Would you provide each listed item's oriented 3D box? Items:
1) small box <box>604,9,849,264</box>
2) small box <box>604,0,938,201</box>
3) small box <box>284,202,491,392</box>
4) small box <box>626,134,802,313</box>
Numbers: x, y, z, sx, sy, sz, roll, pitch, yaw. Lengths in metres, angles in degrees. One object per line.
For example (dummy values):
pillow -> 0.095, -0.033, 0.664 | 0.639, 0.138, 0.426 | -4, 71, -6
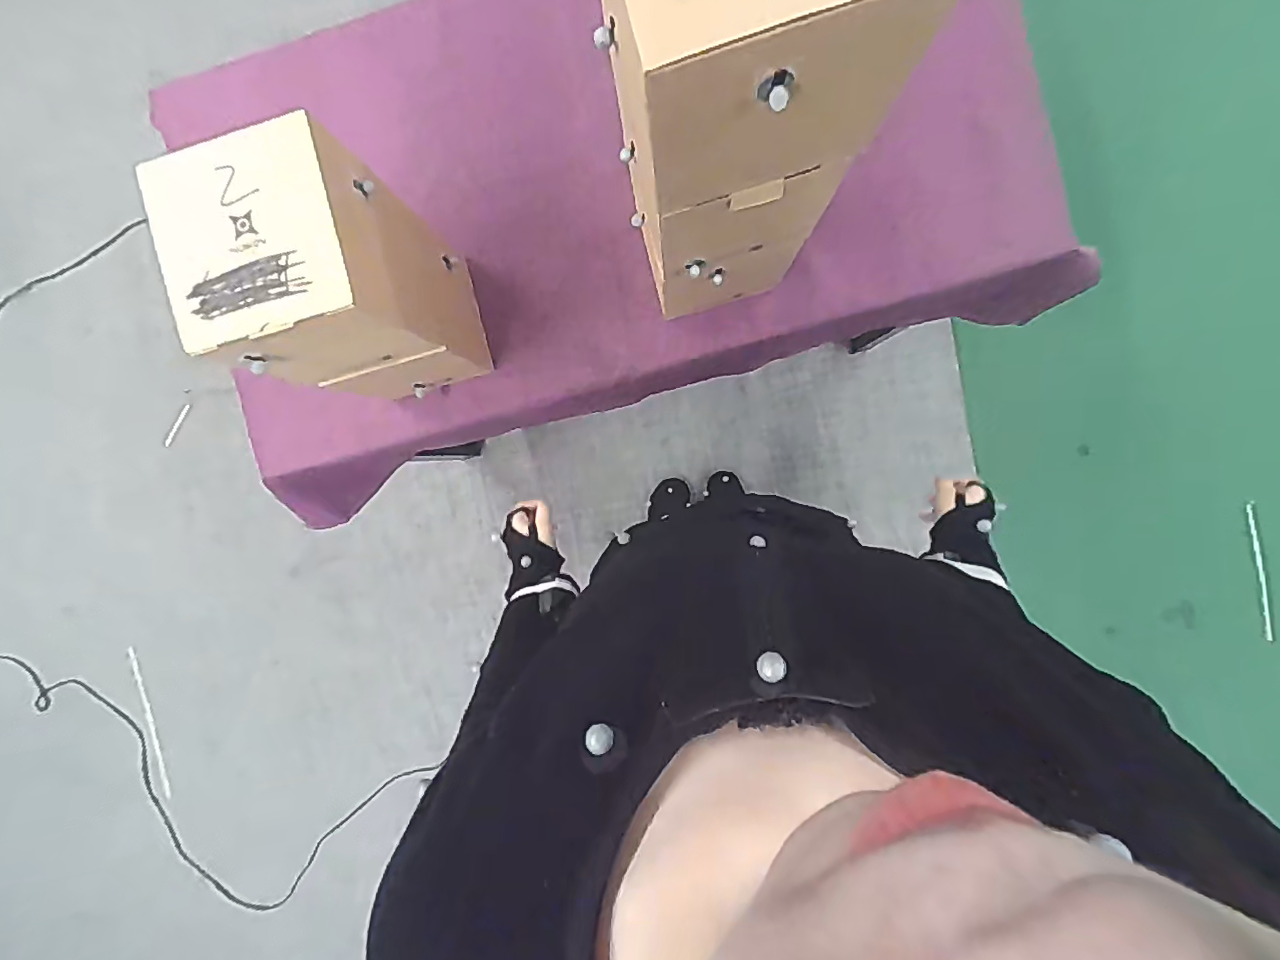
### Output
small box -> 0.076, -0.326, 0.514 | 0.168, 0.176, 0.179 | -15, 91, 5
small box -> 0.067, -0.313, 0.350 | 0.179, 0.176, 0.168 | -14, 93, 5
small box -> -0.318, -0.226, 0.714 | 0.168, 0.176, 0.179 | -13, 93, 5
small box -> 0.087, -0.334, 0.678 | 0.168, 0.176, 0.179 | -14, 91, 6
